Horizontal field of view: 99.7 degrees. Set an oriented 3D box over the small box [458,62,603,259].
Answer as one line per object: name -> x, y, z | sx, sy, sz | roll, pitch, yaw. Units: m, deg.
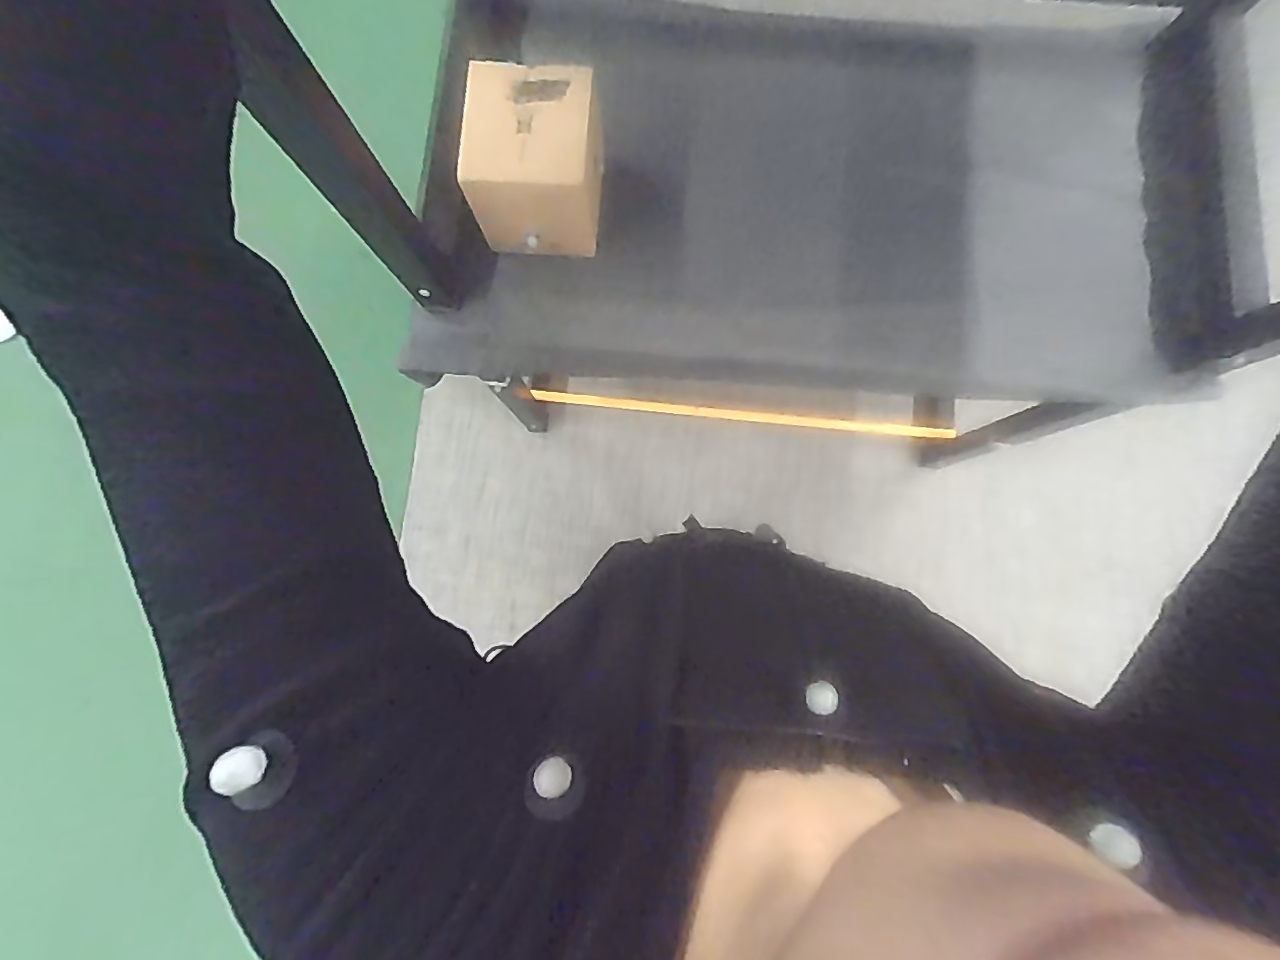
small box -> -0.144, -0.448, 0.776 | 0.168, 0.176, 0.179 | 3, 81, 1
